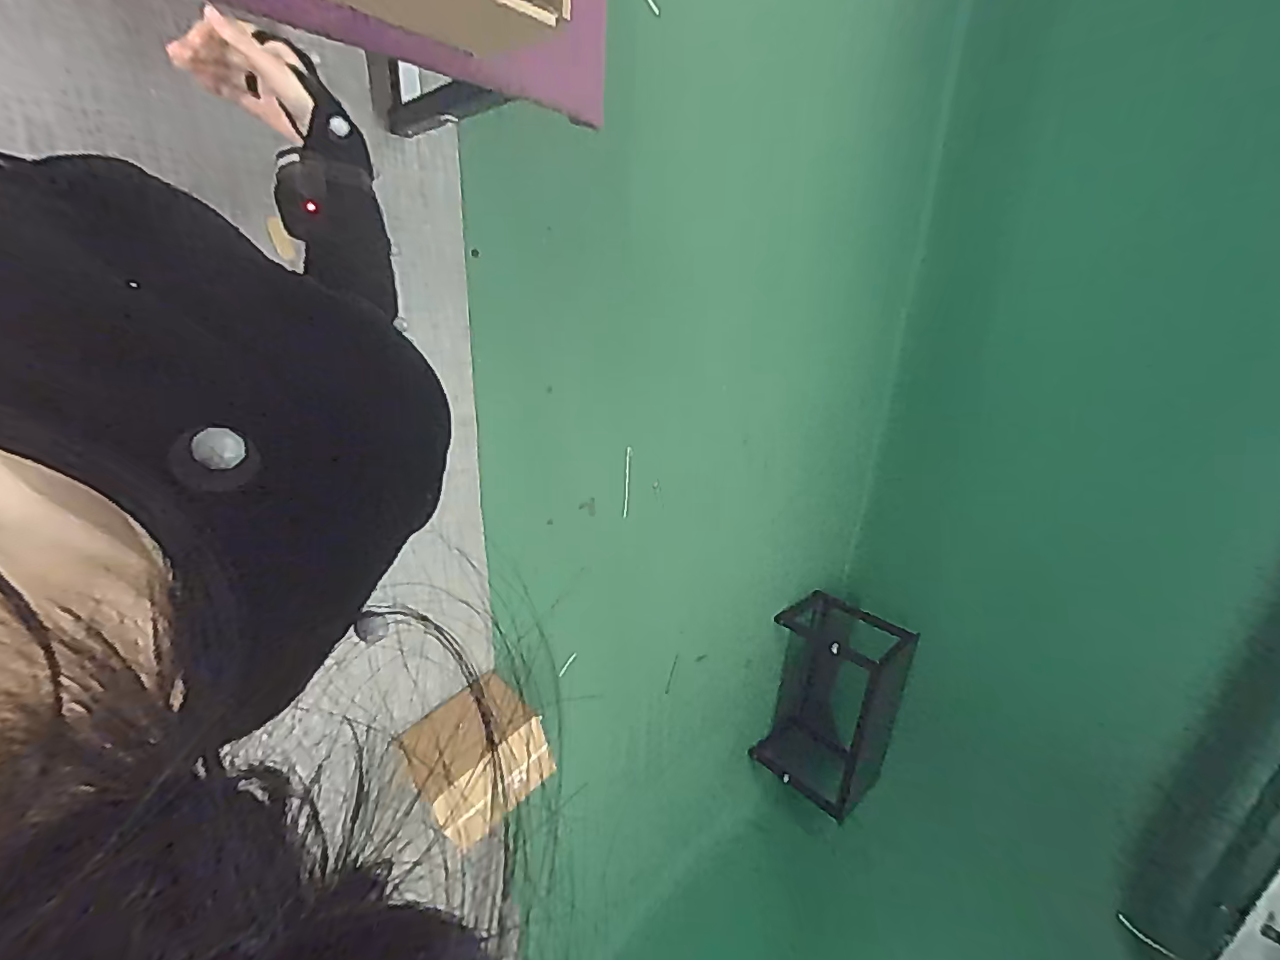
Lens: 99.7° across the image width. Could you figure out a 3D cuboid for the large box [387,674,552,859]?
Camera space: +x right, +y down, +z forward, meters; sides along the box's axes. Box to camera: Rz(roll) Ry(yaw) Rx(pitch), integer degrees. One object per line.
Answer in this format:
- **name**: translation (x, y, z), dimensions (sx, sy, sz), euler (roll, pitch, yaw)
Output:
- **large box**: translation (-0.582, 0.972, 1.878), dimensions (0.408, 0.320, 0.320), euler (-32, 128, -35)
